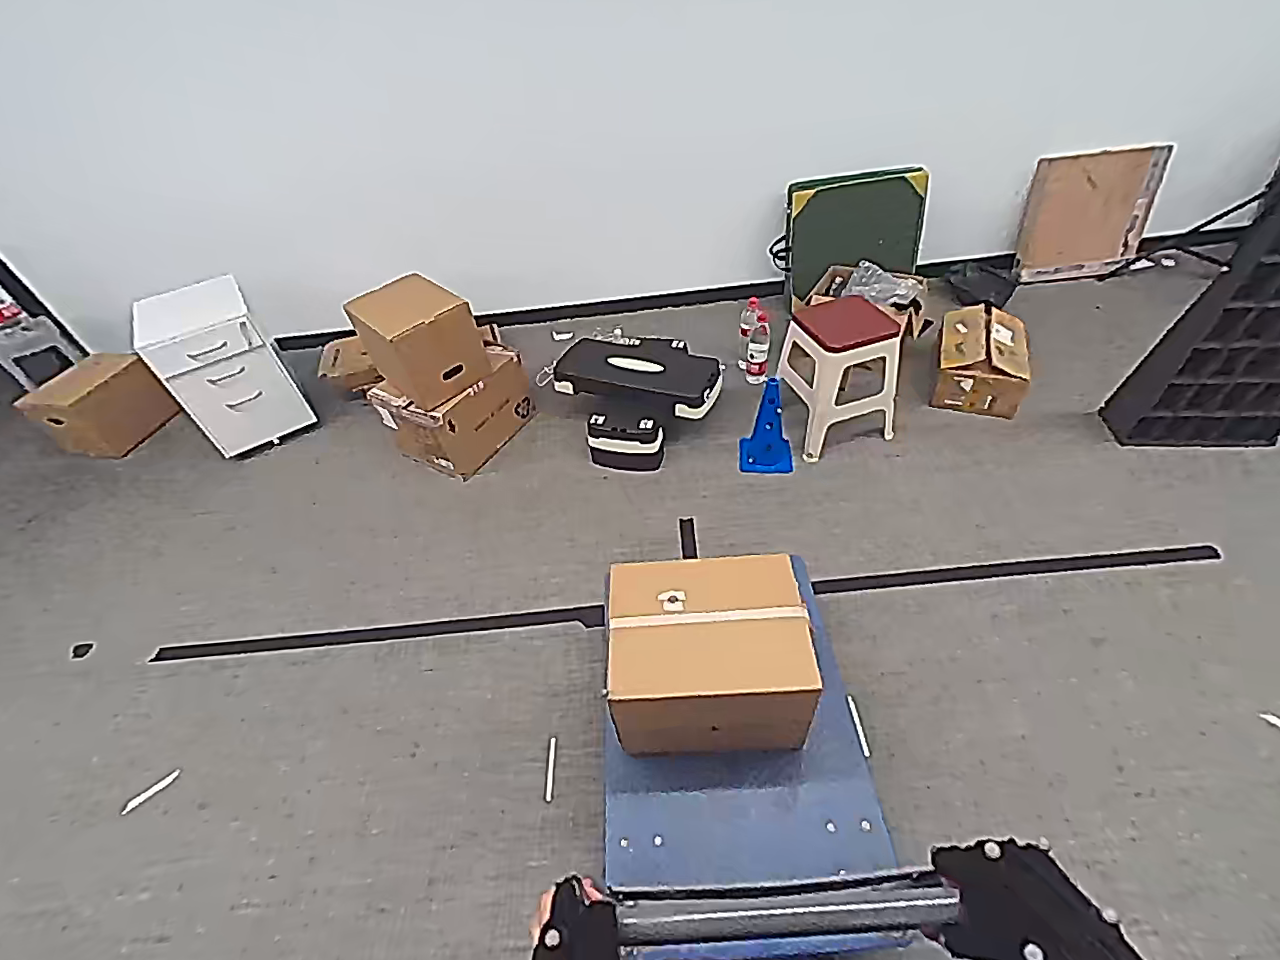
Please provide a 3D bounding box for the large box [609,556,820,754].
[{"bbox_3d":[0.152,0.401,1.223,0.408,0.320,0.320,-5,45,4],"label":"large box"}]
